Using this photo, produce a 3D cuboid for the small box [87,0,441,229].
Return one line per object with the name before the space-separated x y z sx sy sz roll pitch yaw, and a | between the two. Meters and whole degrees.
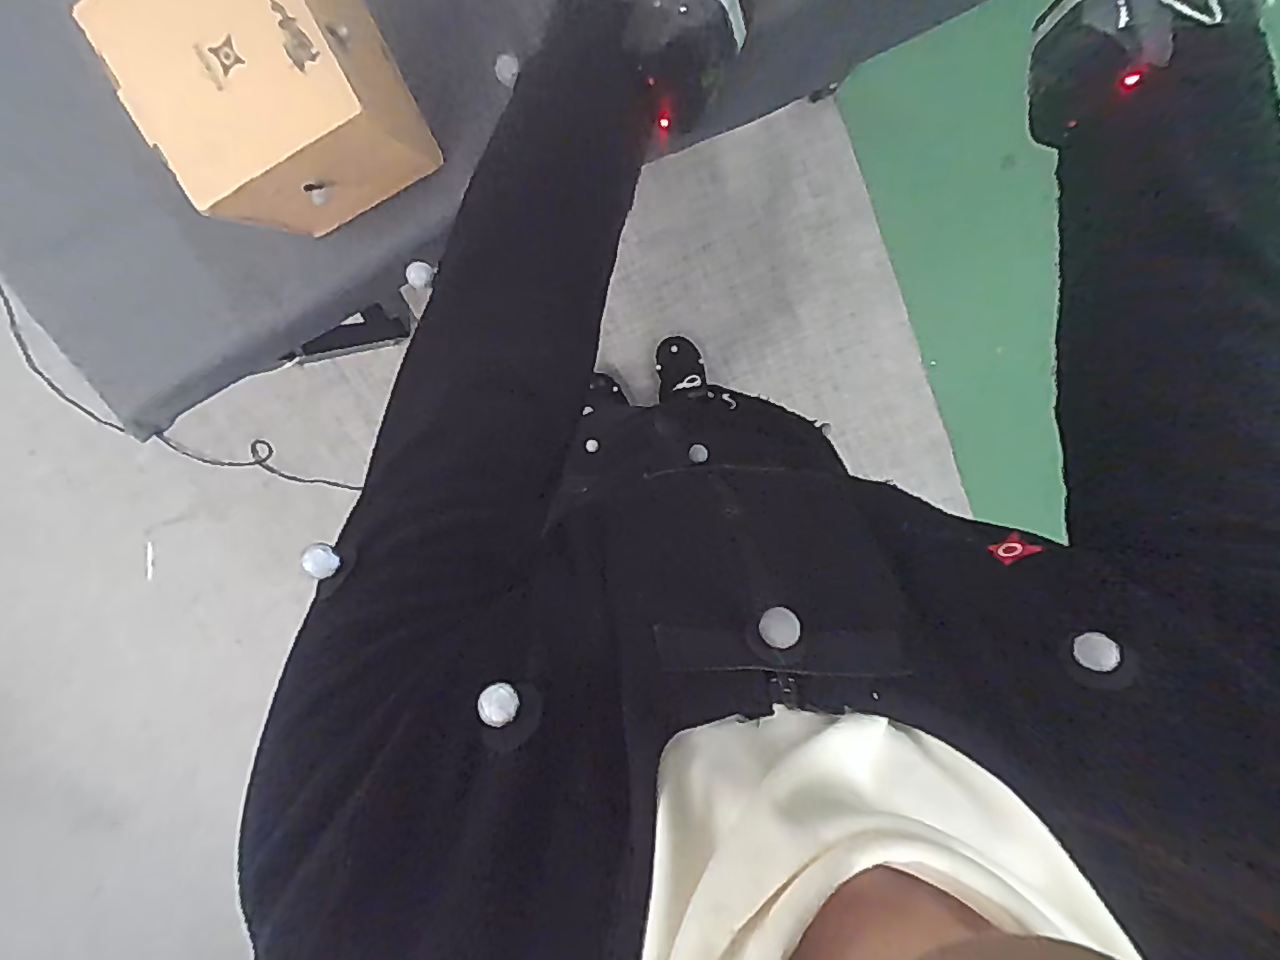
small box | -0.327 -0.361 0.511 0.179 0.176 0.168 -23 104 10
